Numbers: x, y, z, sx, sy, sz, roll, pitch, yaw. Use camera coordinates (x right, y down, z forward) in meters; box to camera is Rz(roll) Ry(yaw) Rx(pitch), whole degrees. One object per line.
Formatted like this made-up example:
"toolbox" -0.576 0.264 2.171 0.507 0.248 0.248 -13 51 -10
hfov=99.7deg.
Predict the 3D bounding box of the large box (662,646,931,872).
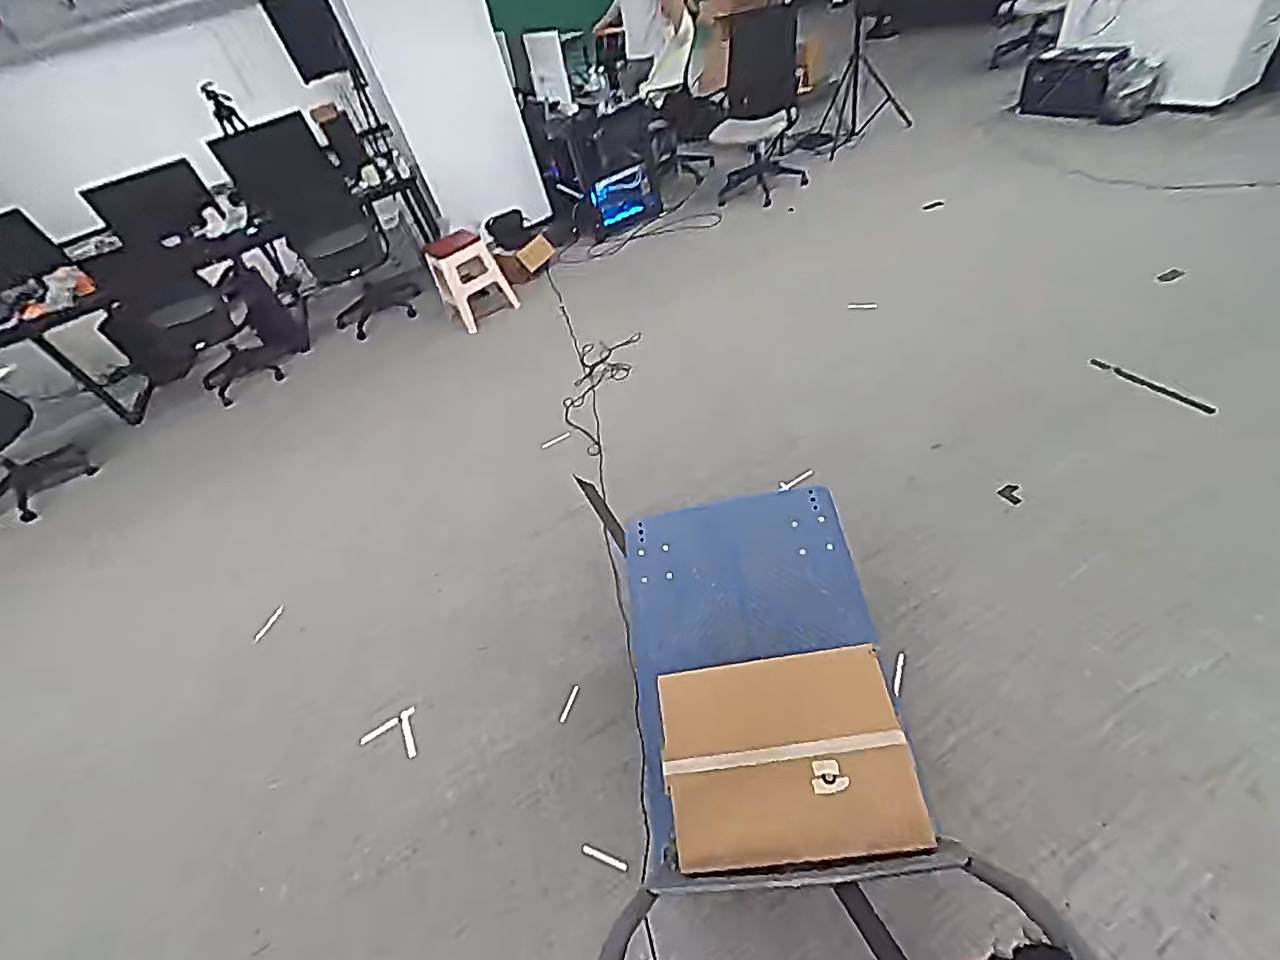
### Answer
"large box" 0.279 0.549 1.070 0.408 0.320 0.320 -11 59 7
